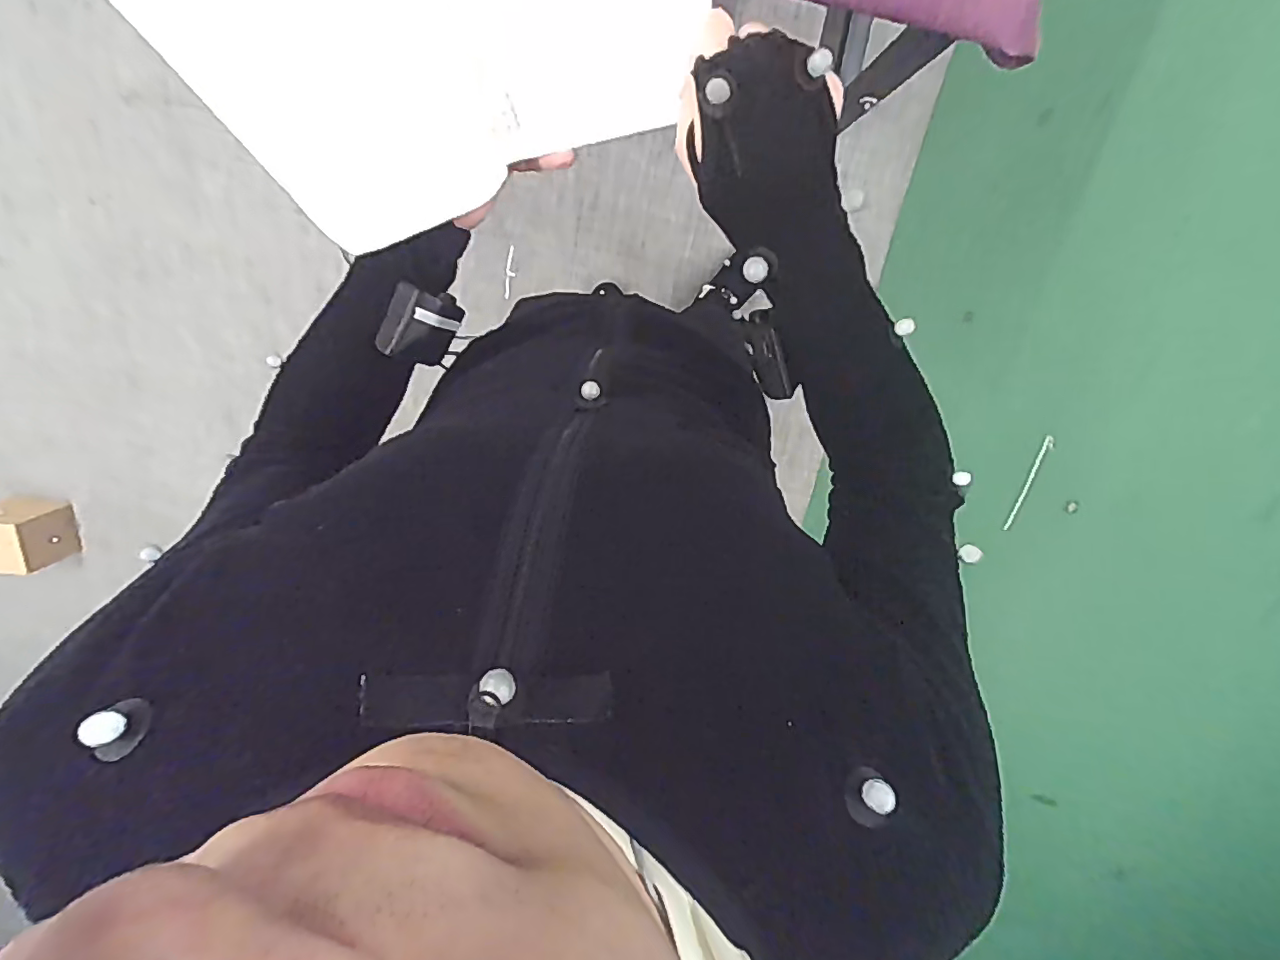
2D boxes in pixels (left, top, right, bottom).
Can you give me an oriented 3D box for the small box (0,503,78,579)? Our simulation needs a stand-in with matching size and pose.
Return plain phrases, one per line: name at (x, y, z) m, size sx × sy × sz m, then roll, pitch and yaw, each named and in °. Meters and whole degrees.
small box at (-1.853, 0.177, 1.623) m, size 0.179 × 0.176 × 0.168 m, roll 7°, pitch 108°, yaw -3°
